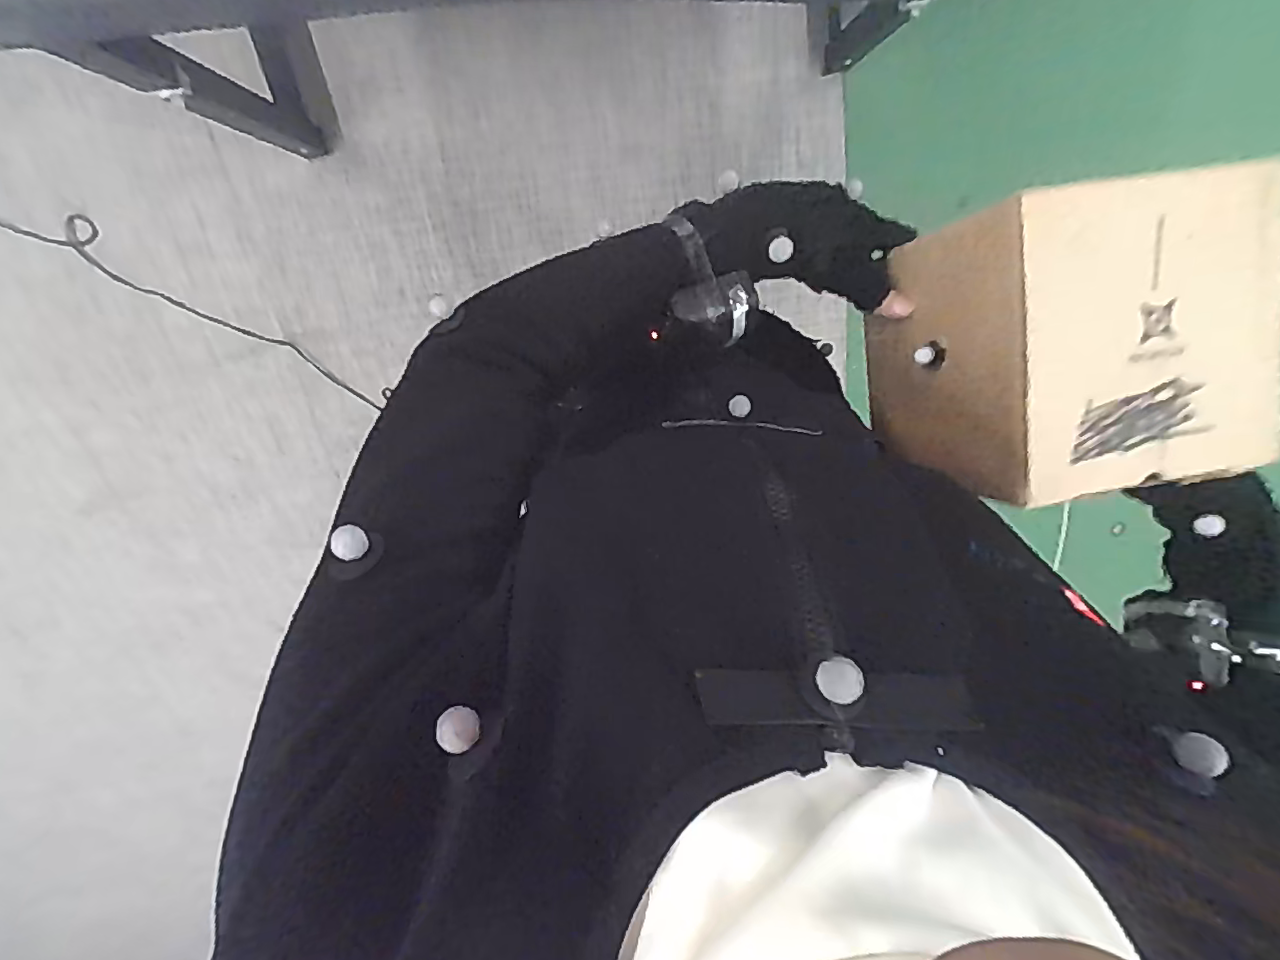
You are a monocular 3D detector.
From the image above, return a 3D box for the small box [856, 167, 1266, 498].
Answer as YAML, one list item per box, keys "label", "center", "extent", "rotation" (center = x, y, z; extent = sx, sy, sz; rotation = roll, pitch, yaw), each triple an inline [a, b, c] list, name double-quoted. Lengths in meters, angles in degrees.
- label: "small box"
  center: [0.279, -0.096, 0.396]
  extent: [0.168, 0.176, 0.179]
  rotation: [-9, 99, -6]
